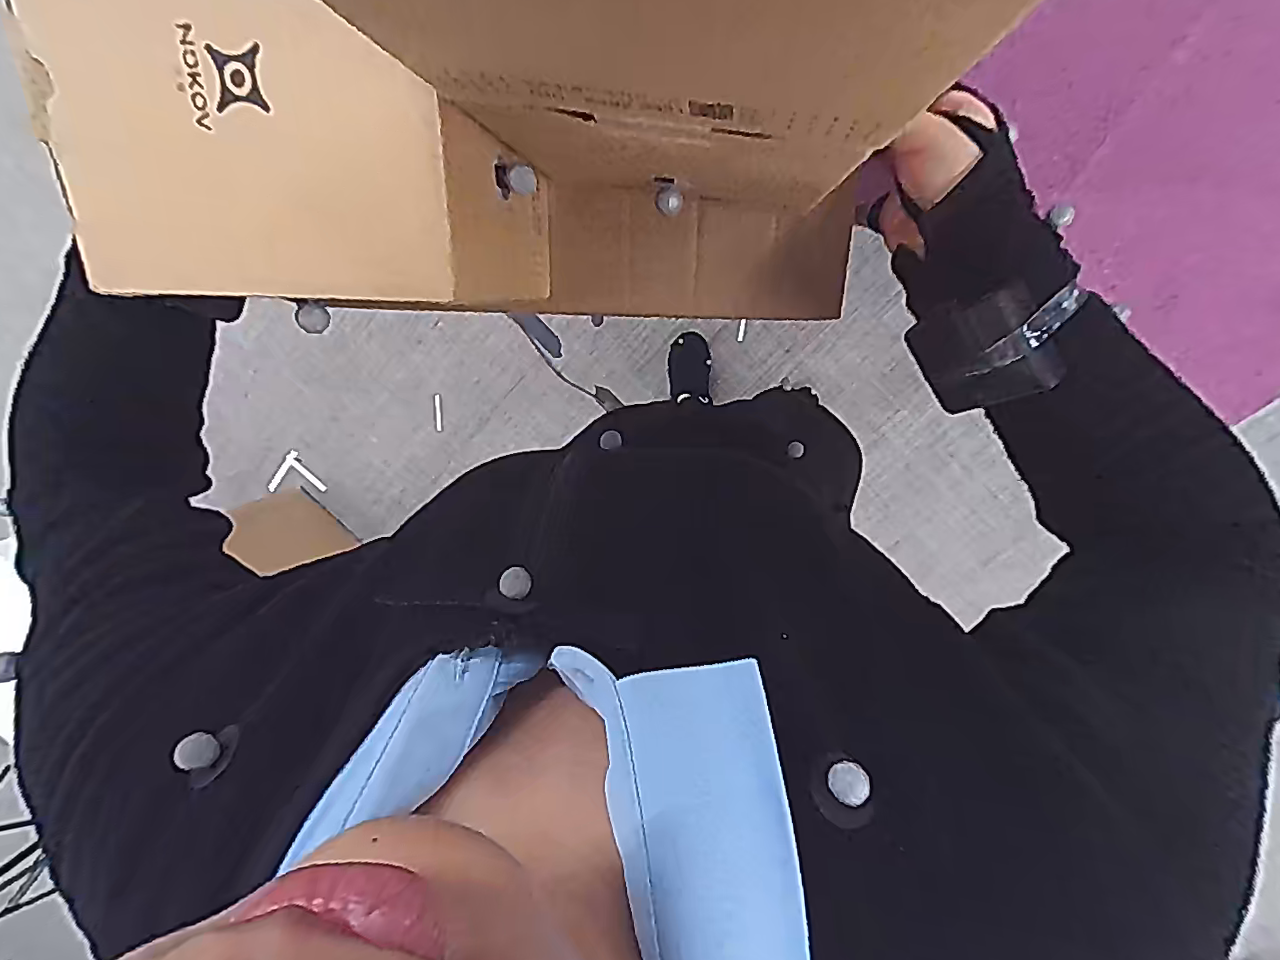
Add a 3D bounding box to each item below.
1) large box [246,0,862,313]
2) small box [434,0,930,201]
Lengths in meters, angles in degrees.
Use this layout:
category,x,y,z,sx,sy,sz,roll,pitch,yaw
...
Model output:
category,x,y,z,sx,sy,sz,roll,pitch,yaw
large box,-0.038,-0.317,0.479,0.408,0.320,0.320,3,108,7
small box,0.030,-0.241,0.234,0.168,0.176,0.179,10,109,5
